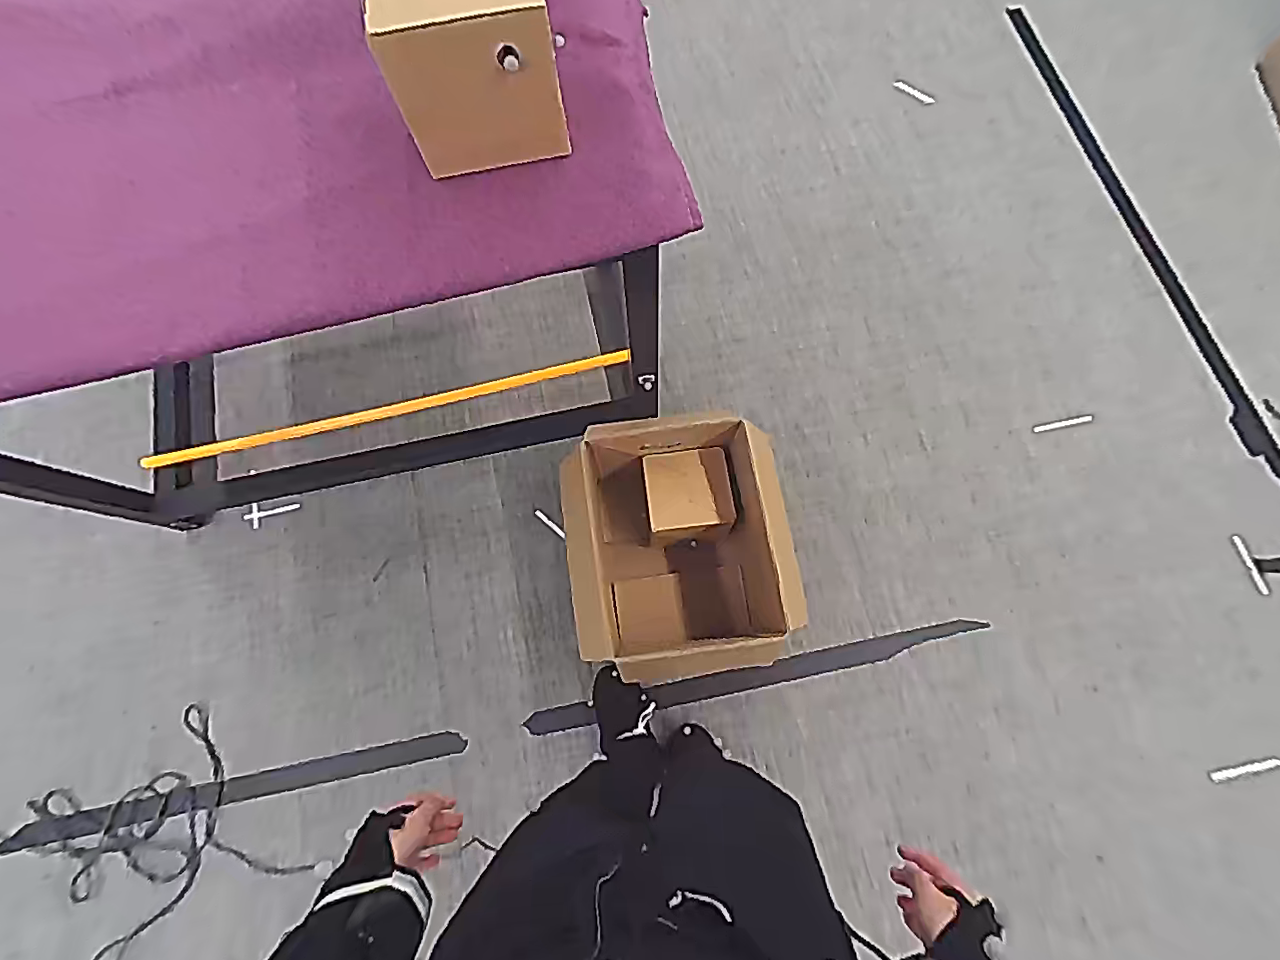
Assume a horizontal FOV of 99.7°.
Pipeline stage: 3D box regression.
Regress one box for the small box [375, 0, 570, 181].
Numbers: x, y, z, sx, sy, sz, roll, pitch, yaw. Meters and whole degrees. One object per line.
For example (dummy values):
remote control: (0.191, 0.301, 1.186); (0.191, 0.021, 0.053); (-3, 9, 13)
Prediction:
small box: (-0.181, -0.482, 0.622); (0.179, 0.176, 0.168); (-11, 72, -2)
